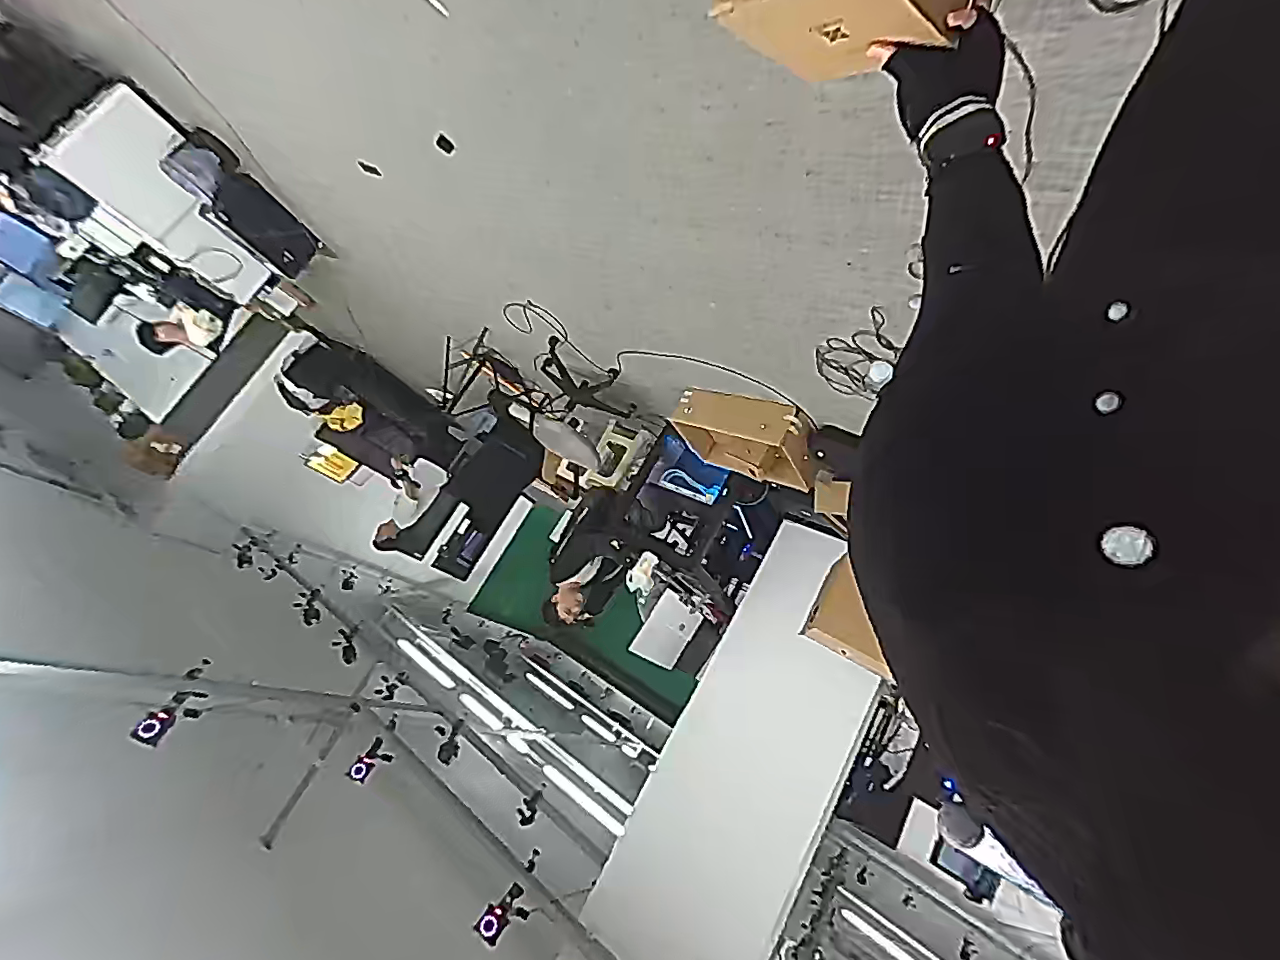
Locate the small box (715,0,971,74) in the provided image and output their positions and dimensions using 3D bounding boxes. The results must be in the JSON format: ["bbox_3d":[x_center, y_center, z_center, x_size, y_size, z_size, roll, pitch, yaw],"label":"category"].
[{"bbox_3d":[0.193,-0.506,0.483,0.179,0.176,0.168,-10,-154,-37],"label":"small box"}]
